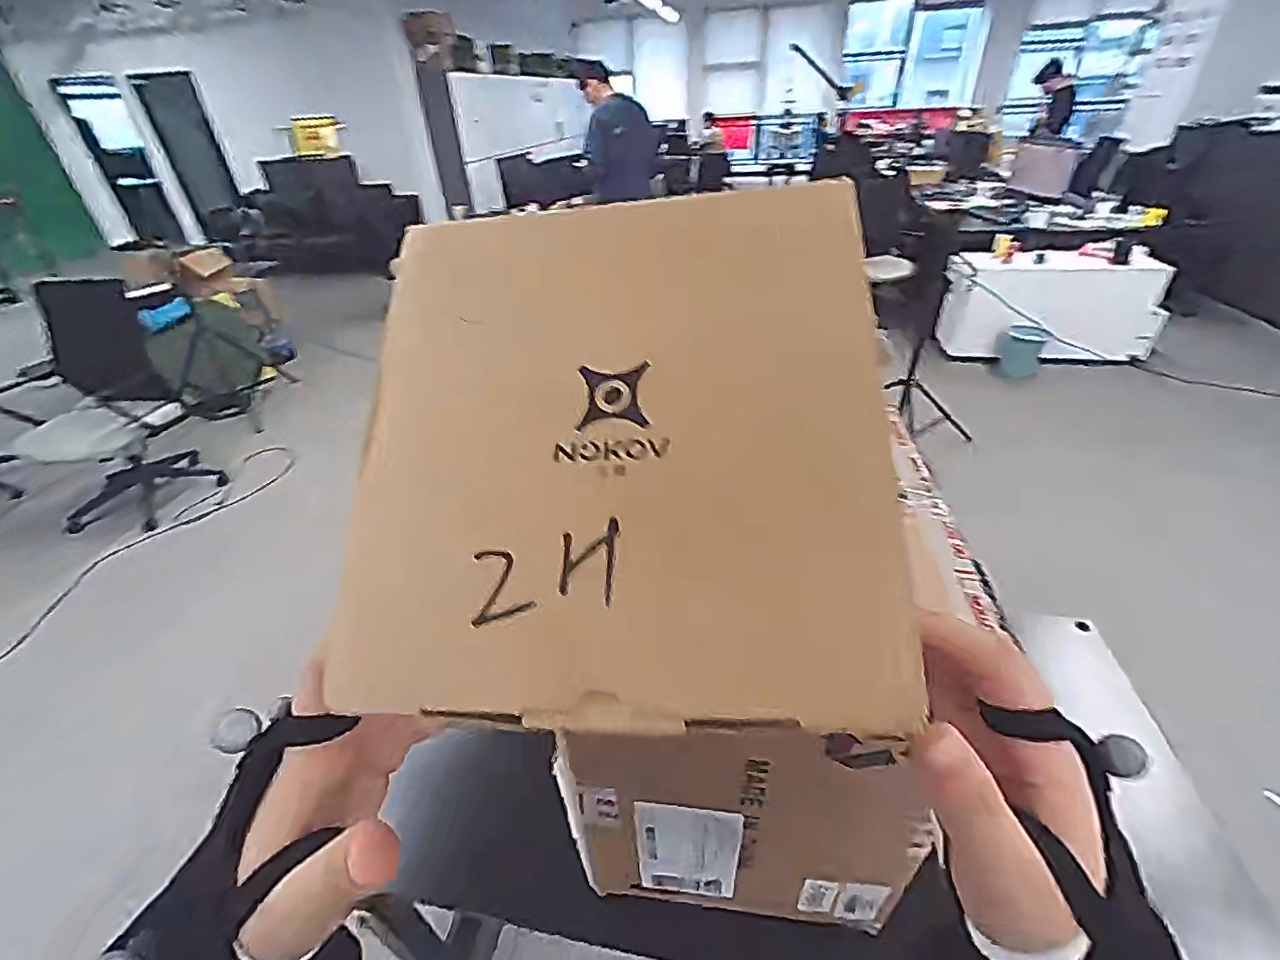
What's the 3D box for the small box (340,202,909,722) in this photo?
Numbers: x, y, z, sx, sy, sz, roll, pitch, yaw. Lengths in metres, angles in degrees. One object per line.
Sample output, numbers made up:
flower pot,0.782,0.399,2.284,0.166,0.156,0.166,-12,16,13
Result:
small box,0.003,0.009,0.253,0.168,0.176,0.179,-2,71,9
